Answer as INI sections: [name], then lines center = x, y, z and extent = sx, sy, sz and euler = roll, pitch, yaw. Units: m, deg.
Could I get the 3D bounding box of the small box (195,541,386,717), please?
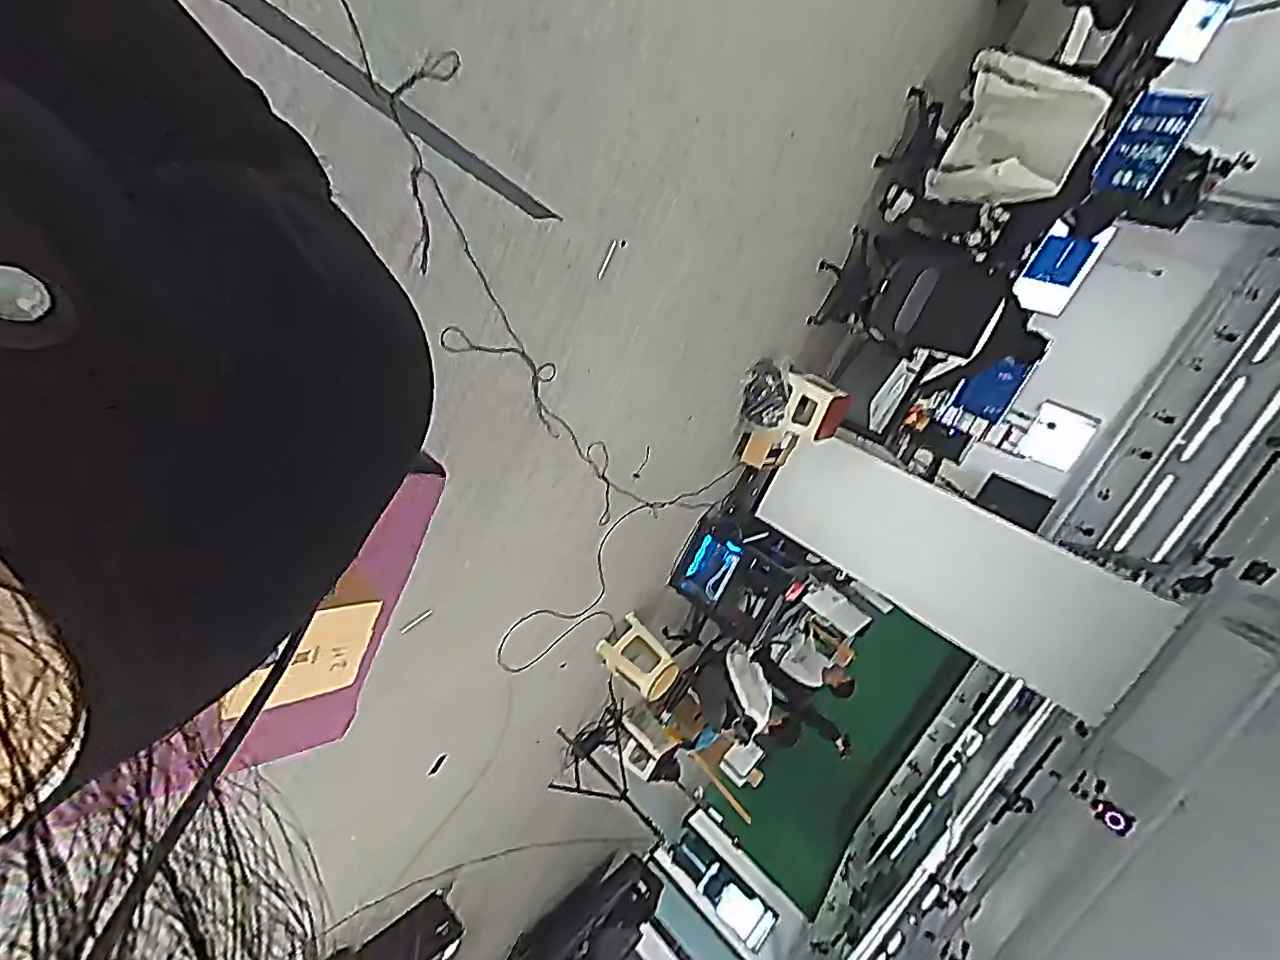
[small box]
center = -0.516, 0.204, 0.795
extent = 0.179, 0.176, 0.168
euler = 3, 118, -55
